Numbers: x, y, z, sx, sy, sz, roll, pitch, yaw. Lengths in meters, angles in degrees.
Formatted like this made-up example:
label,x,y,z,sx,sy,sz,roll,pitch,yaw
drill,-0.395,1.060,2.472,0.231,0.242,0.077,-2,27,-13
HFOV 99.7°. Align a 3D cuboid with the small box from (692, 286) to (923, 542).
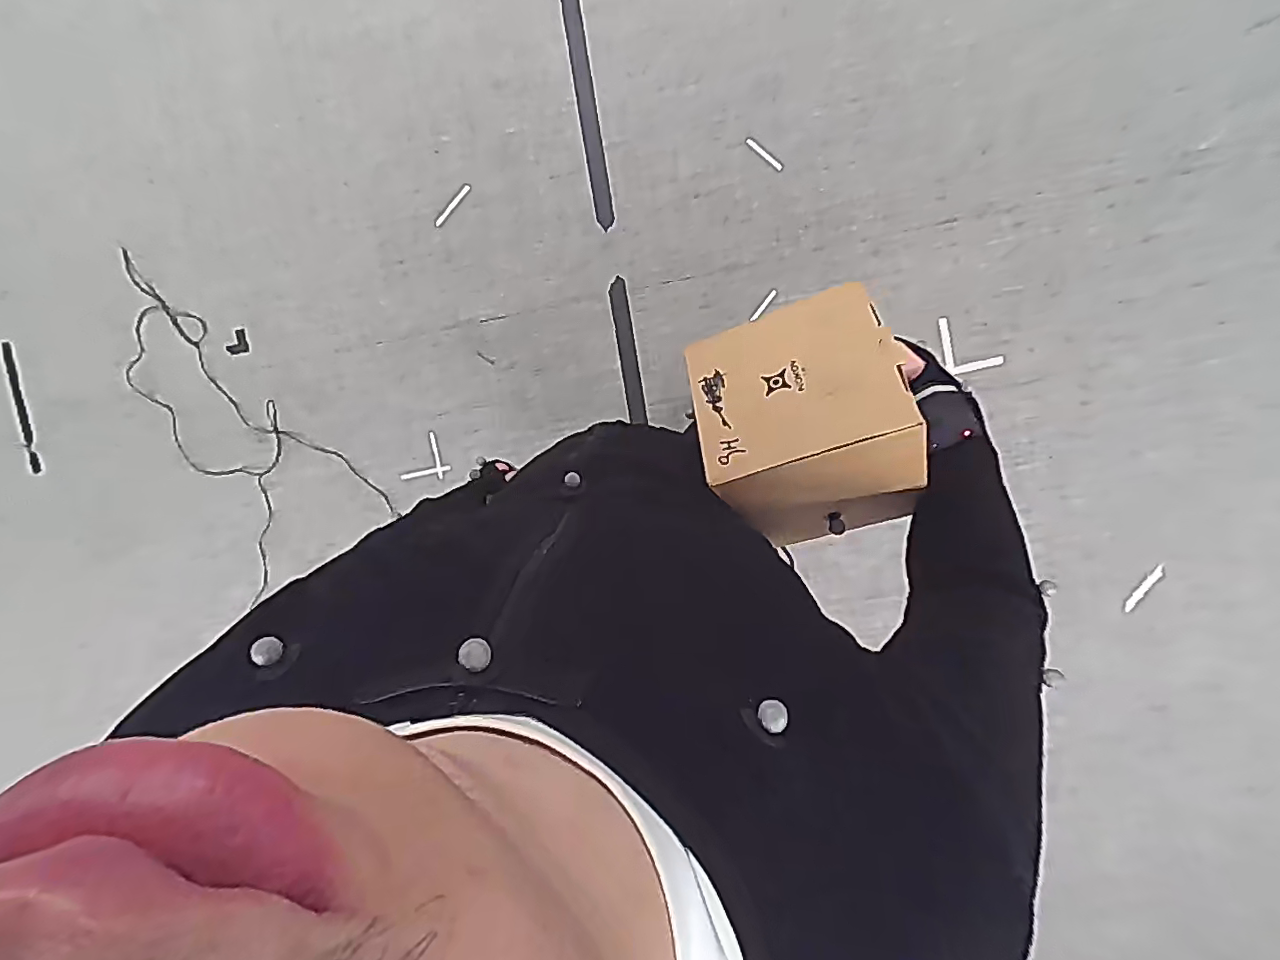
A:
label,x,y,z,sx,sy,sz,roll,pitch,yaw
small box,0.170,-0.055,0.554,0.179,0.176,0.168,-17,56,19
